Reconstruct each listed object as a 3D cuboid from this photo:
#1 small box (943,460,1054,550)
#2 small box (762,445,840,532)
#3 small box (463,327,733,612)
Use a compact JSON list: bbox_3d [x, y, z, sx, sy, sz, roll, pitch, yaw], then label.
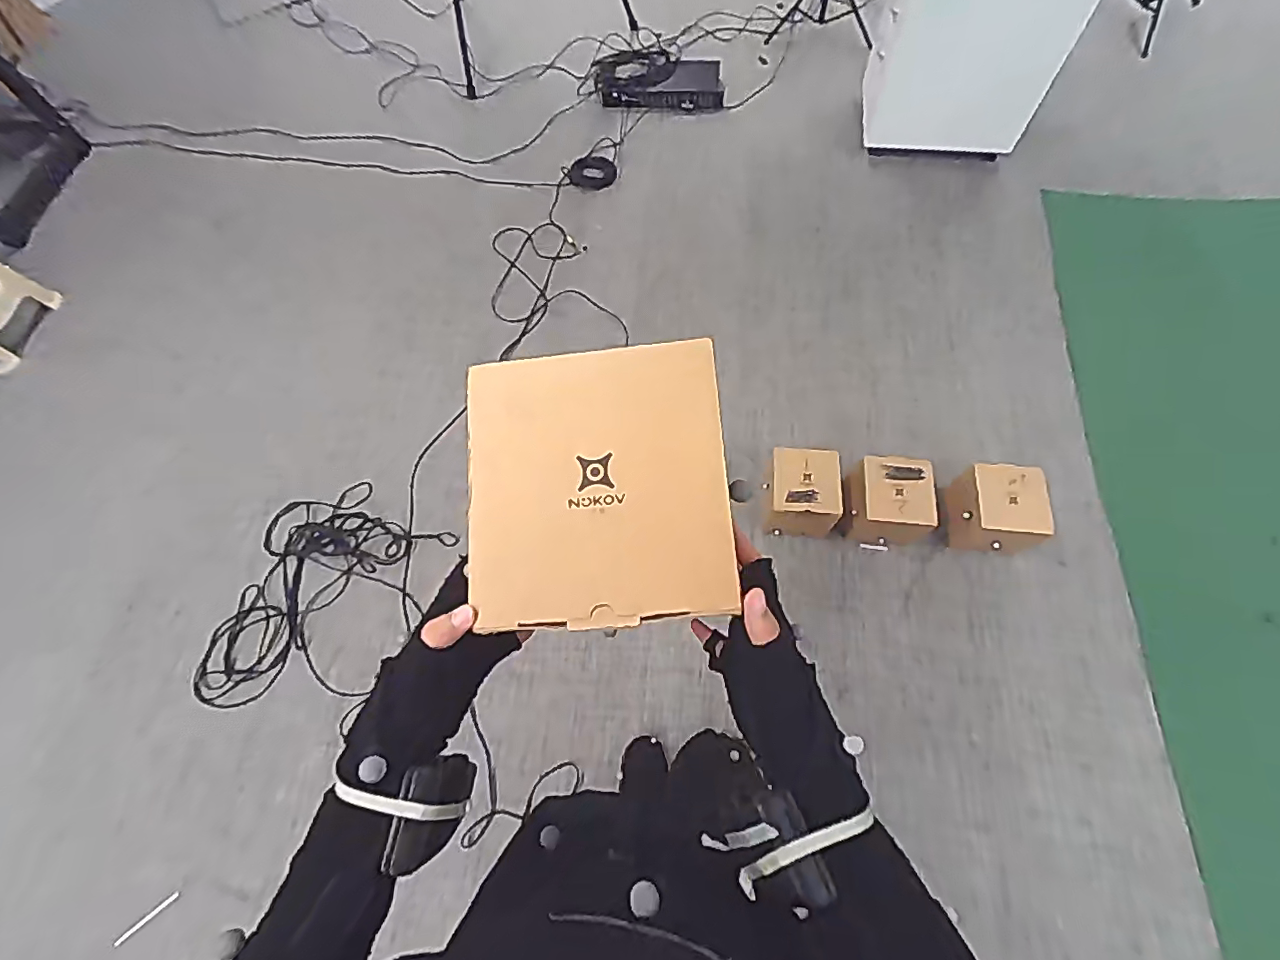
[{"bbox_3d":[0.891,0.068,1.361,0.168,0.176,0.179,5,67,5],"label":"small box"},{"bbox_3d":[0.414,0.028,1.406,0.168,0.176,0.179,4,66,6],"label":"small box"},{"bbox_3d":[-0.023,0.008,0.417,0.168,0.176,0.179,-6,77,5],"label":"small box"}]
